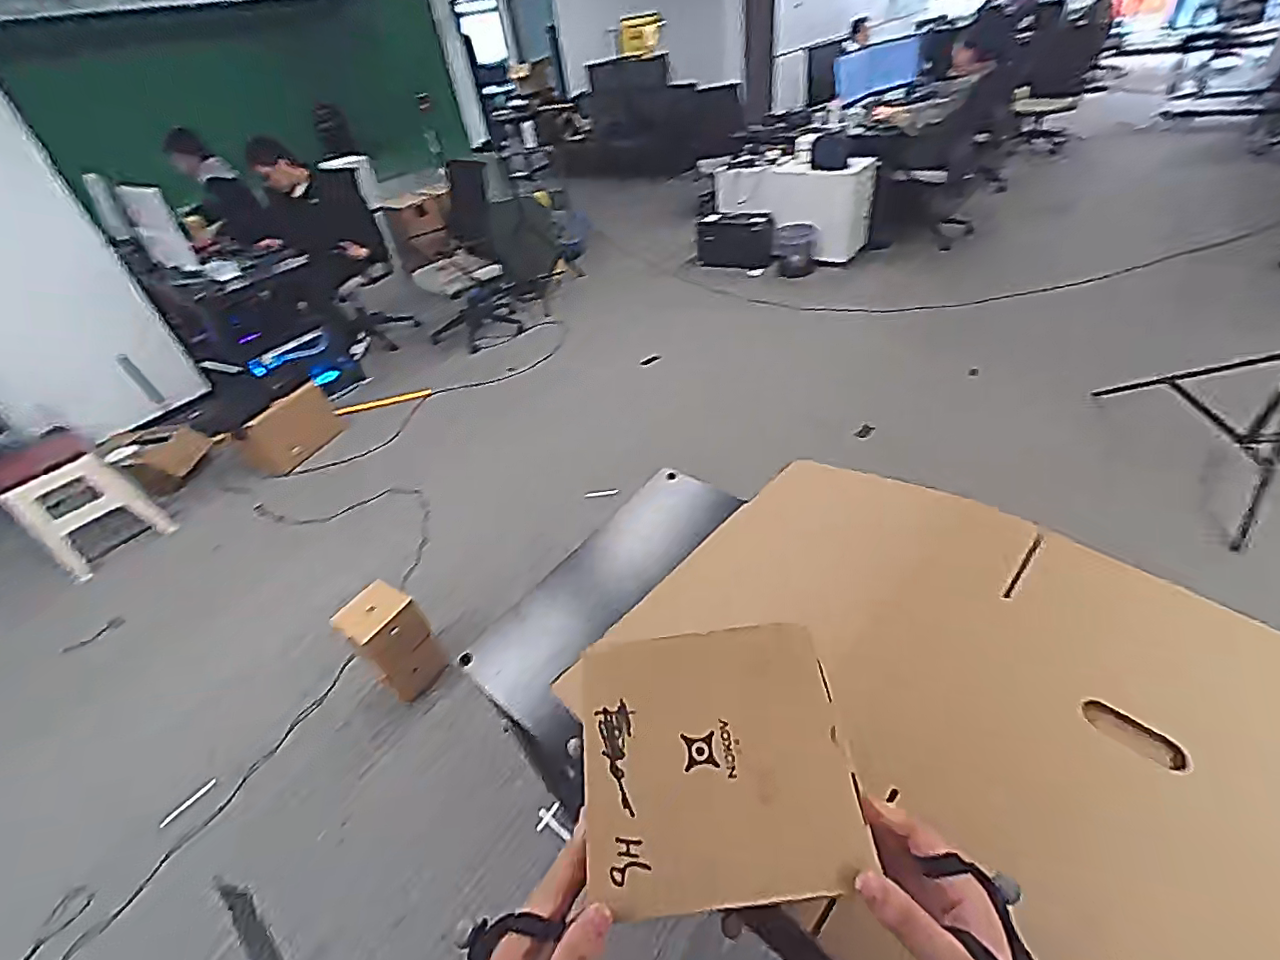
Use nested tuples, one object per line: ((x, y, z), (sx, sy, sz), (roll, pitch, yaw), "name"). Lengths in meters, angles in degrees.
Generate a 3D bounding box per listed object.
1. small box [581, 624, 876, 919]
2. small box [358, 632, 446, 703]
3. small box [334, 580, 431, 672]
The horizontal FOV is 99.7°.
((0.051, 0.233, 0.427), (0.179, 0.176, 0.168), (-7, 50, -1), "small box")
((-0.745, 0.566, 1.720), (0.168, 0.176, 0.179), (20, 49, 30), "small box")
((-0.761, 0.439, 1.618), (0.168, 0.176, 0.179), (18, 46, 28), "small box")
